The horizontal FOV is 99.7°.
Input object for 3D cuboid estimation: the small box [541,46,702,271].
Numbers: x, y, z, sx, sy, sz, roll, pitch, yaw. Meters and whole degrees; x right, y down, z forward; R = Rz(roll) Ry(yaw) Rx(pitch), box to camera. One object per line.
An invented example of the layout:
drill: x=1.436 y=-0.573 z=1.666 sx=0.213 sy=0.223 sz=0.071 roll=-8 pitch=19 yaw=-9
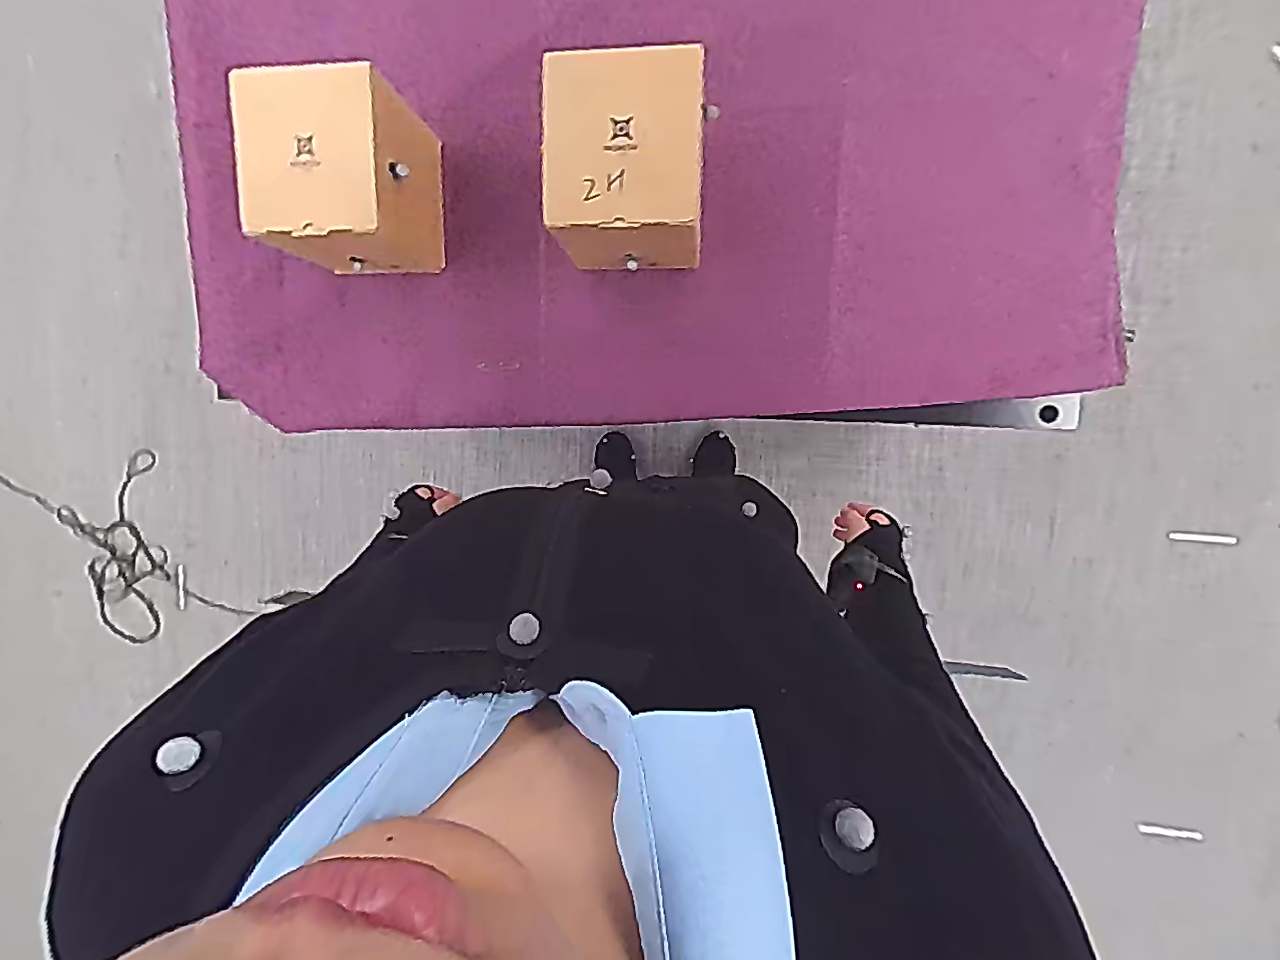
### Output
small box: x=-0.013 y=-0.361 z=0.638 sx=0.168 sy=0.176 sz=0.179 roll=2 pitch=97 yaw=7

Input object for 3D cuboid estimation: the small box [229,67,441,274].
small box: x=-0.364 y=-0.371 z=0.677 sx=0.168 sy=0.176 sz=0.179 roll=1 pitch=97 yaw=5
